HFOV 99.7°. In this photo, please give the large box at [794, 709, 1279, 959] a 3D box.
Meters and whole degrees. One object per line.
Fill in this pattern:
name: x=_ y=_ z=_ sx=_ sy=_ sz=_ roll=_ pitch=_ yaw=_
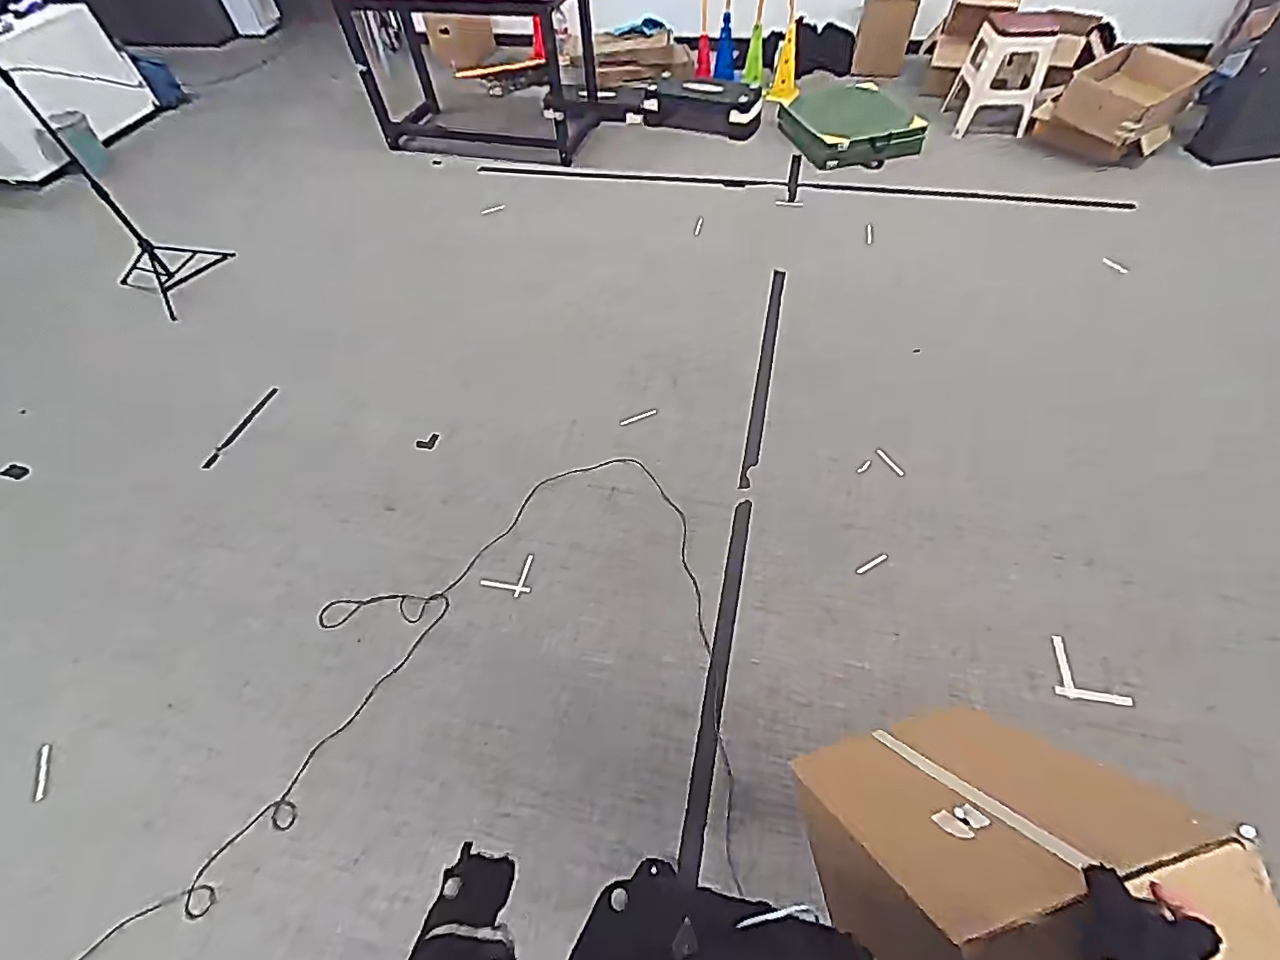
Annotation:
large box: x=0.446 y=0.539 z=0.675 sx=0.320 sy=0.408 sz=0.320 roll=-15 pitch=86 yaw=-8
